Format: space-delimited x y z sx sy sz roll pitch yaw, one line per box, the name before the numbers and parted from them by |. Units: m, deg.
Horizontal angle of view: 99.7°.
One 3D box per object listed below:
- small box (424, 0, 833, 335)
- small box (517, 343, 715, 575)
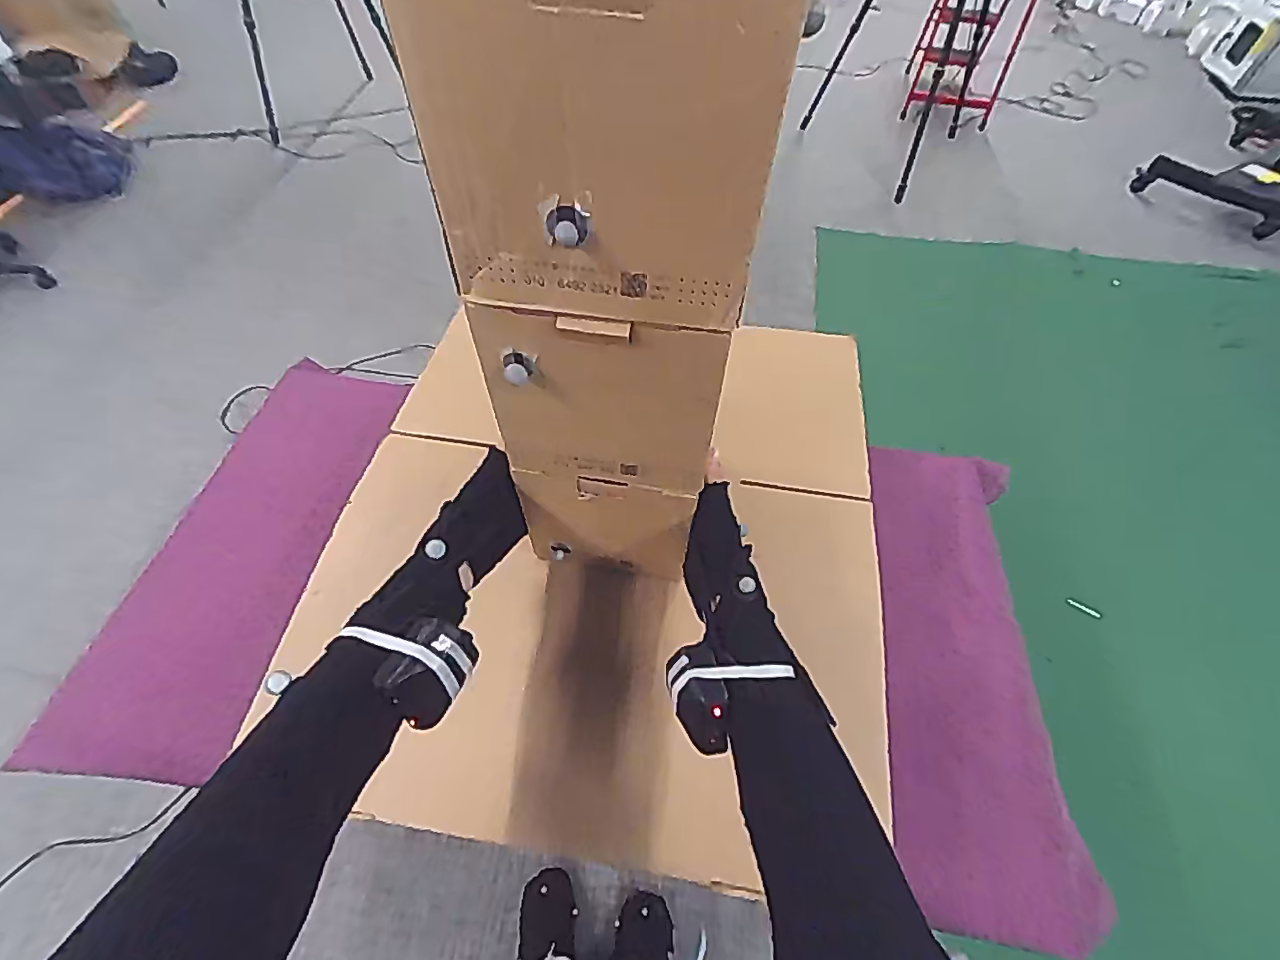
small box | -0.003 -0.210 0.304 0.168 0.176 0.179 7 55 3
small box | -0.016 -0.016 0.568 0.168 0.176 0.179 6 56 3
